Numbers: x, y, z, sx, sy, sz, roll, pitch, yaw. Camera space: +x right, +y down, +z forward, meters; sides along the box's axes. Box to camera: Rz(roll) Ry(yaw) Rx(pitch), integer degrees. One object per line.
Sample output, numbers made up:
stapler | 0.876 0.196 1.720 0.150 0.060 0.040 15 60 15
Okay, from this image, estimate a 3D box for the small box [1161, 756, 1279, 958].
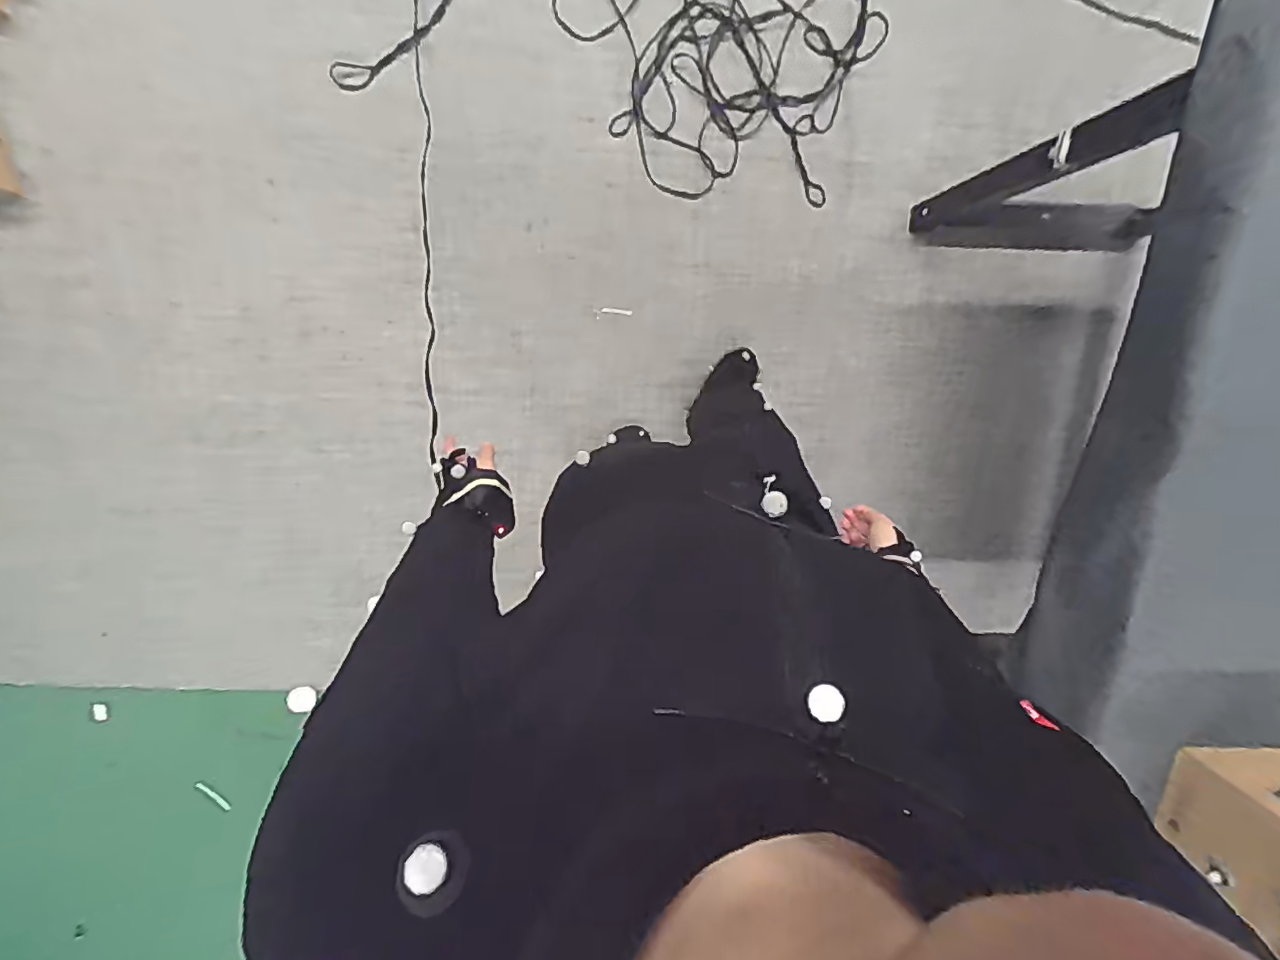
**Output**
small box | 0.817 0.468 0.669 0.179 0.176 0.168 2 104 -5
